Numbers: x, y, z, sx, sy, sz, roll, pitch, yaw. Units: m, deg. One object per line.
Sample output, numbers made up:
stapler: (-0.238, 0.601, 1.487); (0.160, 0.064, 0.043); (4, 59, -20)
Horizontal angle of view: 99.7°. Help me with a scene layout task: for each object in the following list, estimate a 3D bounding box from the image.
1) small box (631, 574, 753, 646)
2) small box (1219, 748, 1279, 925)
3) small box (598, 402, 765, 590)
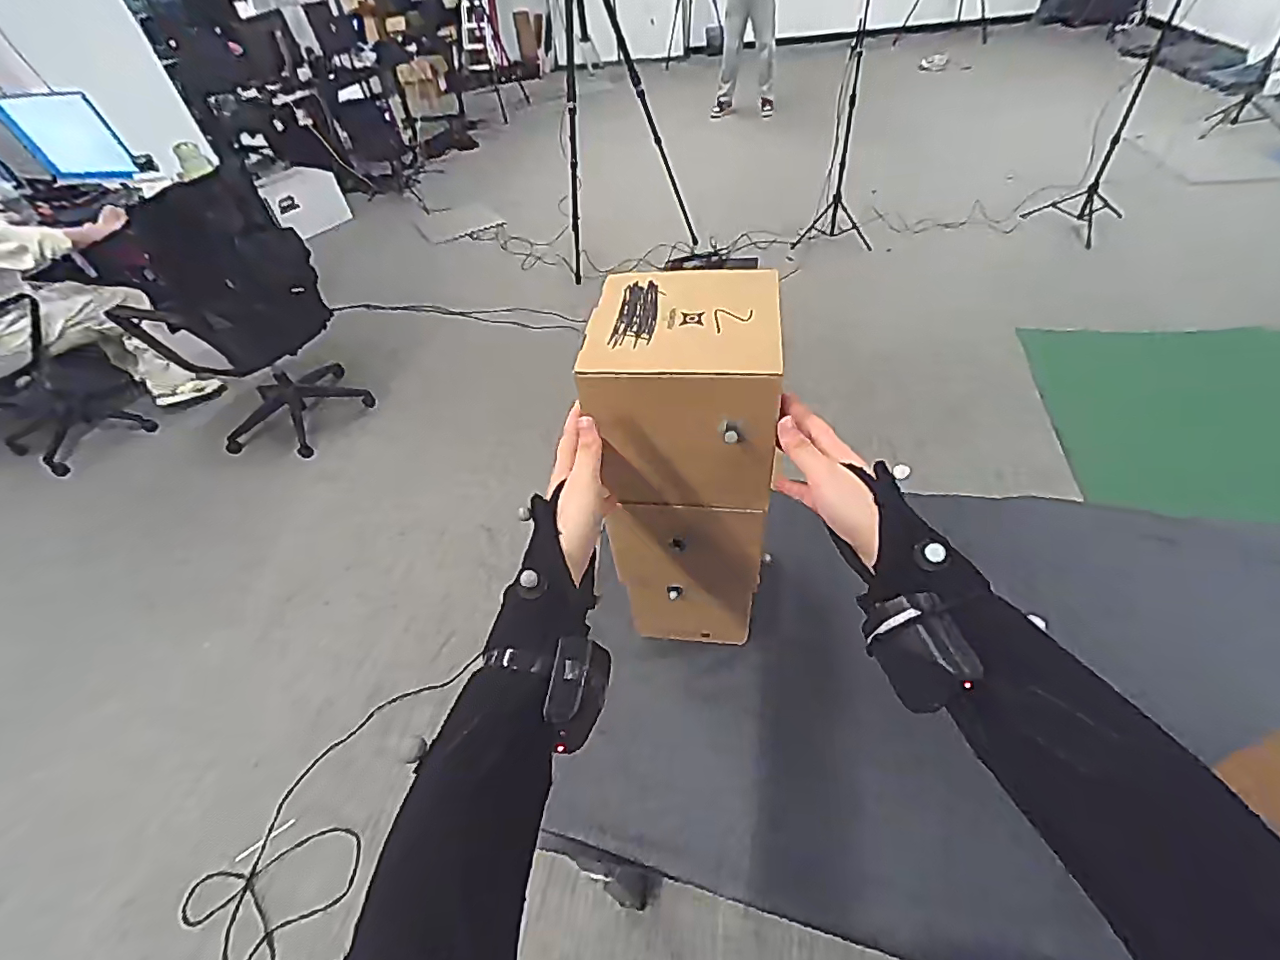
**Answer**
small box: (0.080, 0.122, 0.802); (0.168, 0.176, 0.179); (2, 48, 10)
small box: (0.707, 0.348, 0.492); (0.168, 0.176, 0.179); (4, 47, 14)
small box: (0.061, 0.022, 0.671); (0.179, 0.176, 0.168); (2, 49, 11)
